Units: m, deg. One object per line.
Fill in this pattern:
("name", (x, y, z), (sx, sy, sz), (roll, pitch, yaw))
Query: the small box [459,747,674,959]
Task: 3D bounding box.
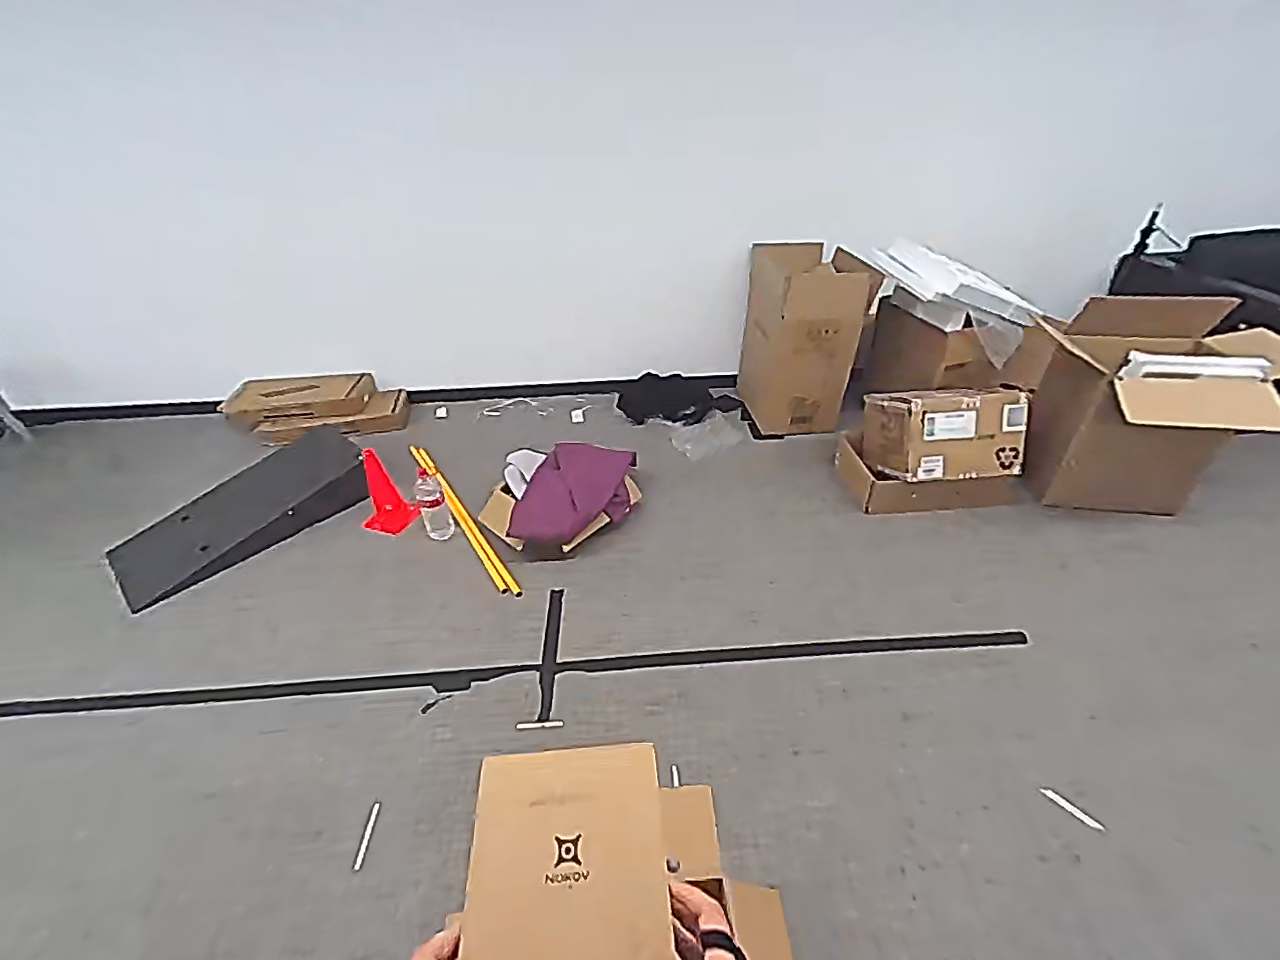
("small box", (-0.059, 0.381, 0.506), (0.168, 0.176, 0.179), (-4, 40, -4))
